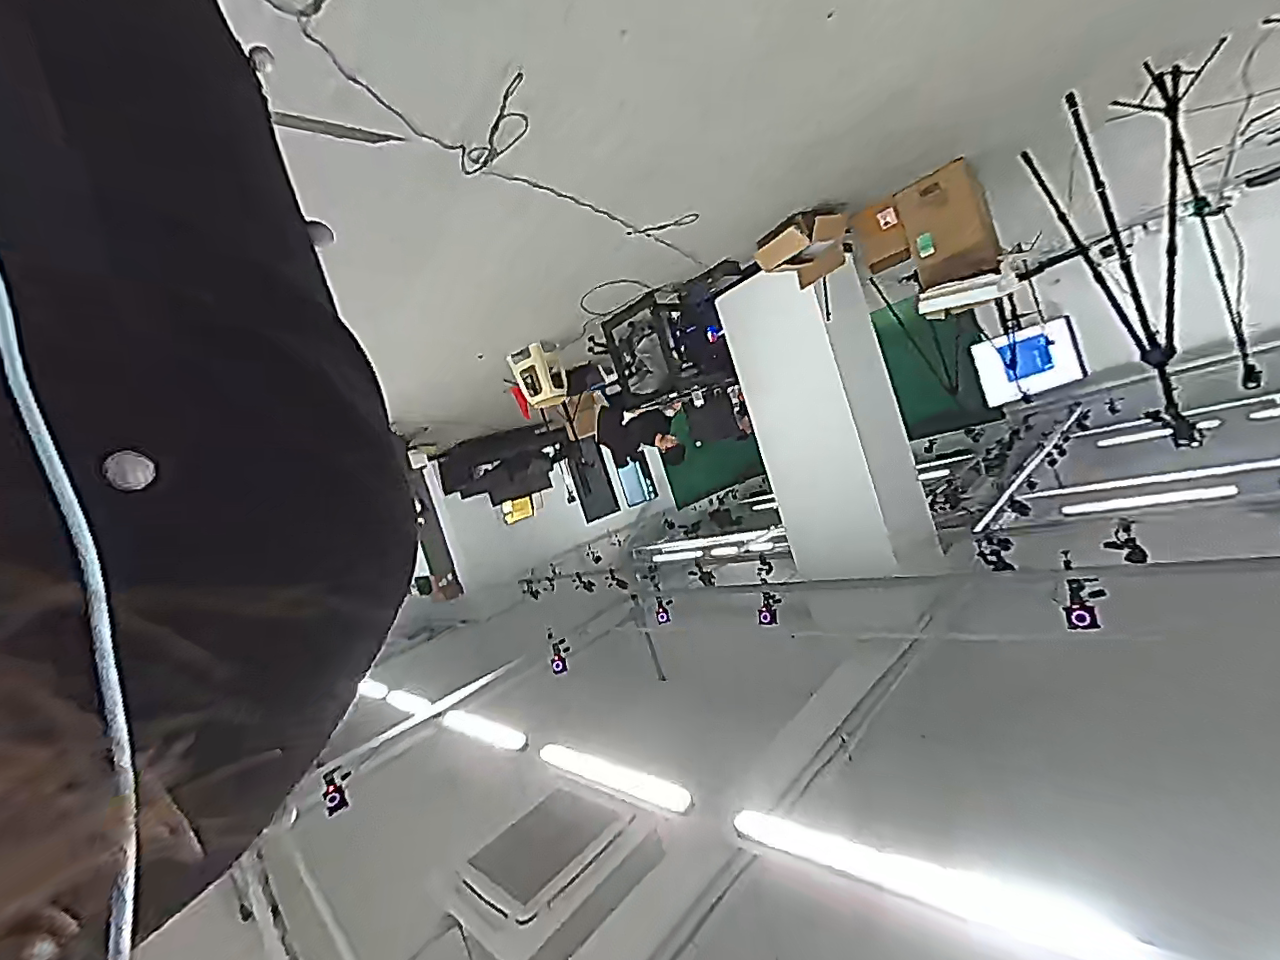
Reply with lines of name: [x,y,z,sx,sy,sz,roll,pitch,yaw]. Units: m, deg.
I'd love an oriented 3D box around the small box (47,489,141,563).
small box: [-1.641,0.134,1.626,0.179,0.176,0.168,-16,-177,44]
